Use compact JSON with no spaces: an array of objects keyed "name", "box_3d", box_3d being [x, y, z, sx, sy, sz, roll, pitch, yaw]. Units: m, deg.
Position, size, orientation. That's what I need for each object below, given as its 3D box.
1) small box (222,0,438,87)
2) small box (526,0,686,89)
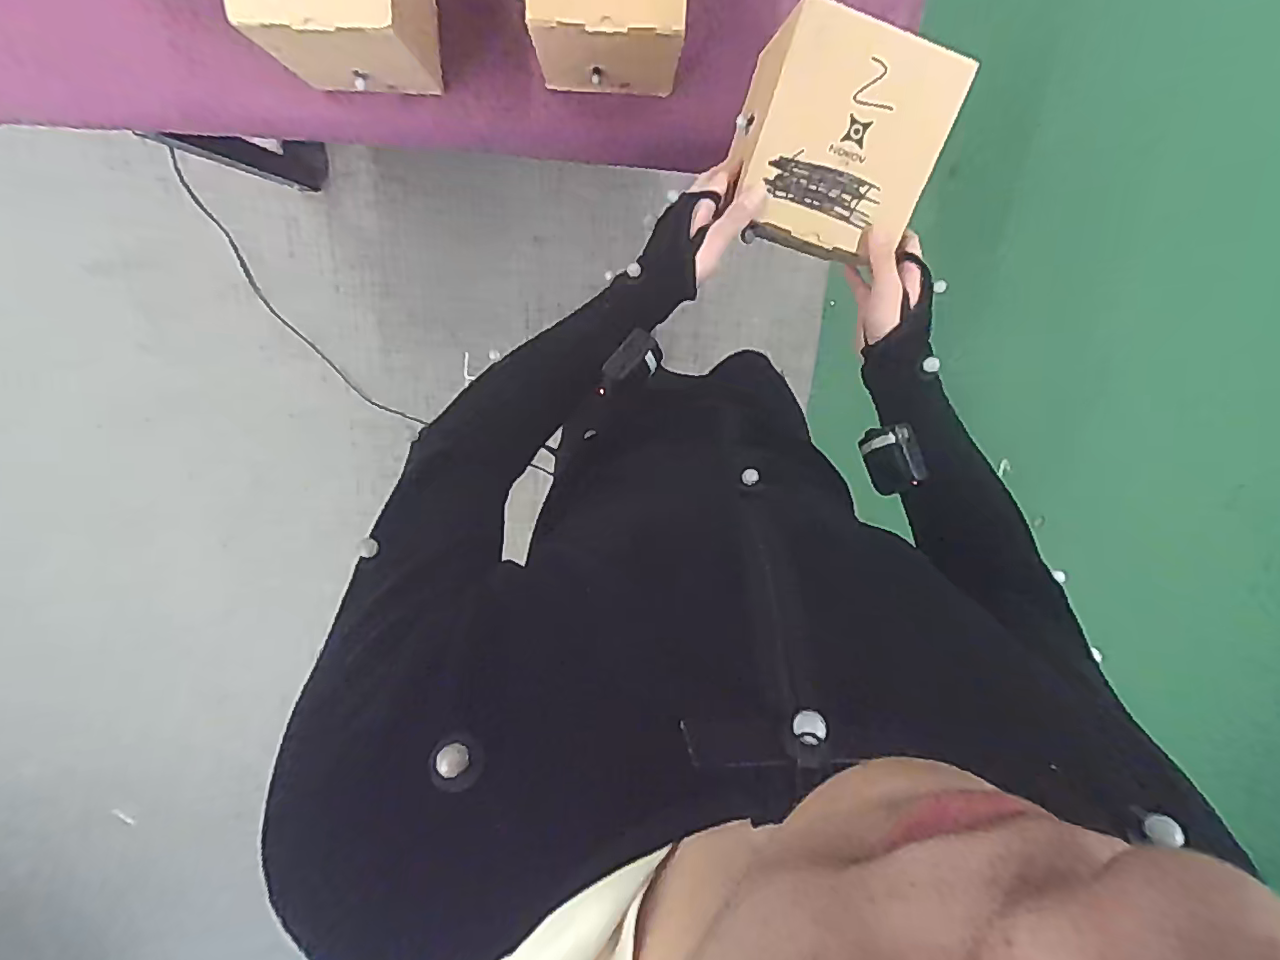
[{"name":"small box","box_3d":[-0.332,-0.568,0.589,0.168,0.176,0.179,1,108,-3]},{"name":"small box","box_3d":[-0.036,-0.577,0.605,0.168,0.176,0.179,1,108,-4]}]
